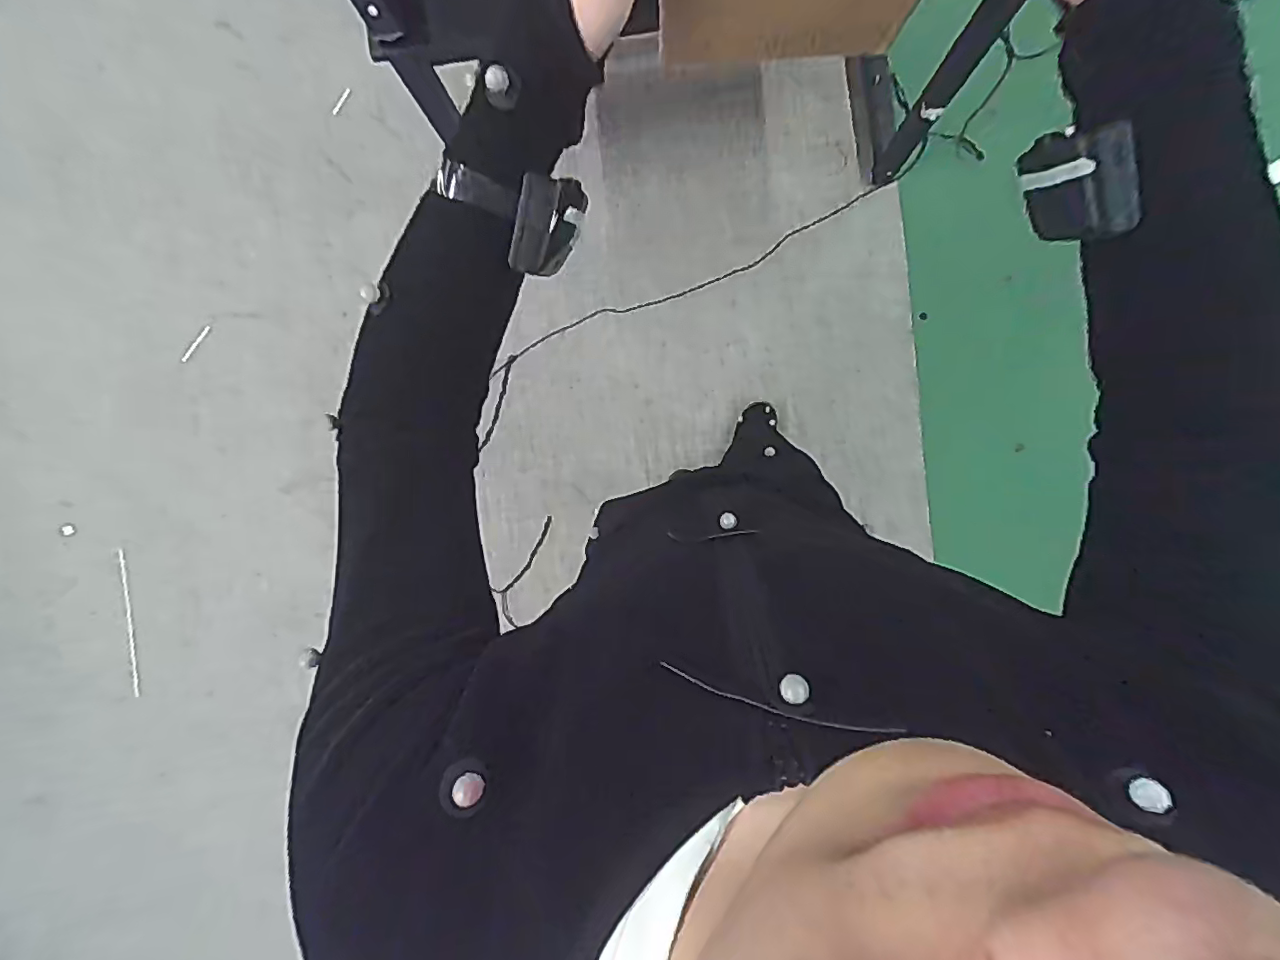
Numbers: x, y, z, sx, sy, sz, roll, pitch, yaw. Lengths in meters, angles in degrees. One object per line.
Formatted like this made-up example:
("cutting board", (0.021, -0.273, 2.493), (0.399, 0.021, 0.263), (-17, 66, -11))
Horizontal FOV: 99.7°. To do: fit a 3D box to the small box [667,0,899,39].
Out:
("small box", (0.103, -0.404, 0.317), (0.179, 0.176, 0.168), (-1, 96, 4))
